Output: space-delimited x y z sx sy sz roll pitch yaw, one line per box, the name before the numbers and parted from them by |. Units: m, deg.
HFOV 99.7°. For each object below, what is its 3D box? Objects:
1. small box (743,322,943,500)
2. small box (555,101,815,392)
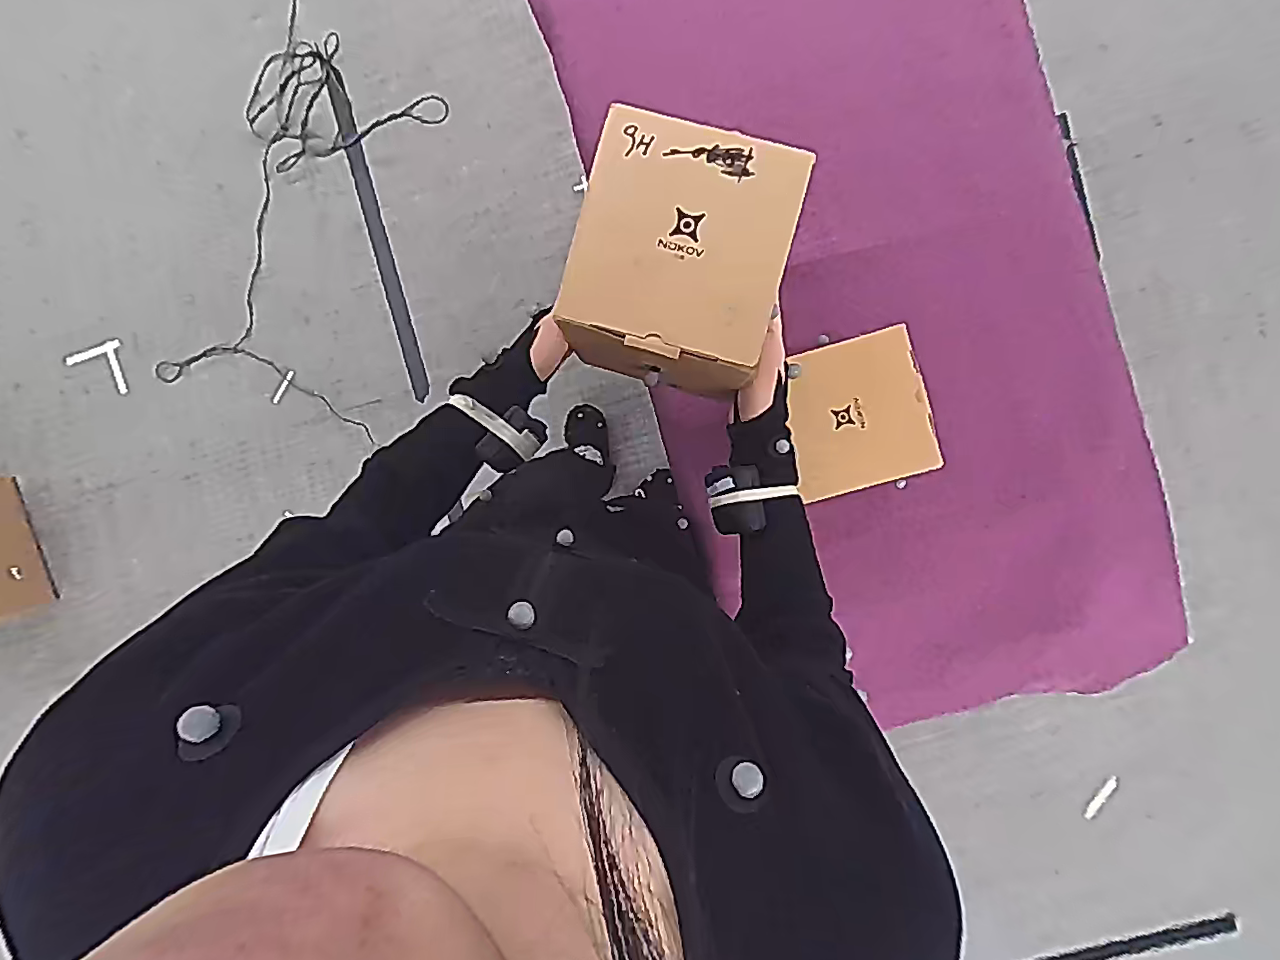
small box | 0.236 -0.076 0.680 0.179 0.176 0.168 -16 90 2
small box | 0.037 -0.190 0.496 0.168 0.176 0.179 16 92 1
